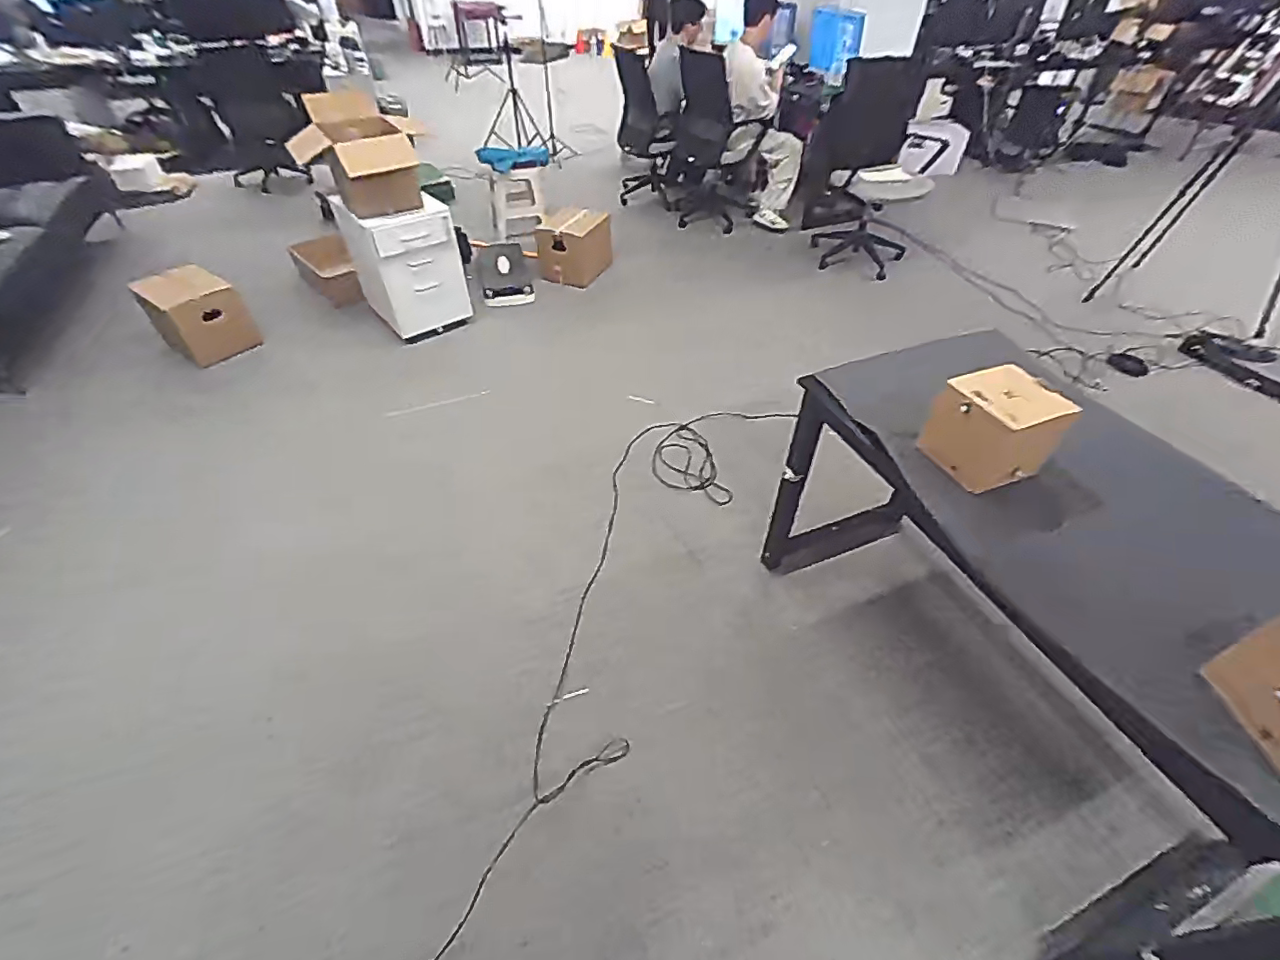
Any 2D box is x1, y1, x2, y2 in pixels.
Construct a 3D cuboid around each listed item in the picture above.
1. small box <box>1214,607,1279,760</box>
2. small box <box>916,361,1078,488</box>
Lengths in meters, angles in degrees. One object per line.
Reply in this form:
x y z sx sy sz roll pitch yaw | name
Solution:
0.909 0.267 0.686 0.179 0.176 0.168 0 45 -3 | small box
0.694 -0.110 1.075 0.179 0.176 0.168 -15 47 -17 | small box
